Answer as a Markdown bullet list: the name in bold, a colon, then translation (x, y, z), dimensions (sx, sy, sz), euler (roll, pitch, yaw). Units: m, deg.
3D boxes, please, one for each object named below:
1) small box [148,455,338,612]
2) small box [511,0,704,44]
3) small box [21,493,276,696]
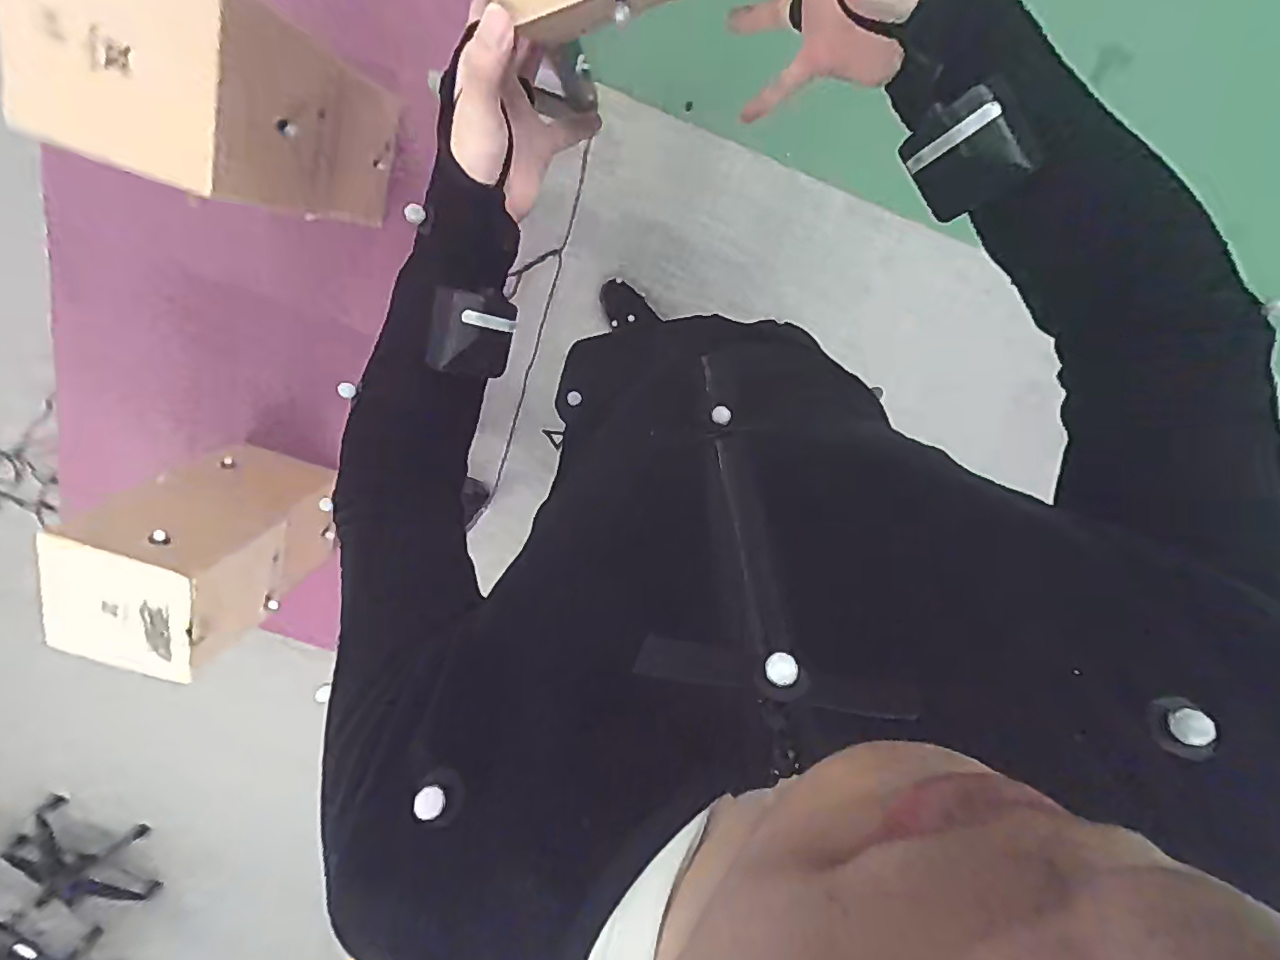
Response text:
- **small box**: translation (-0.611, 0.075, 0.843), dimensions (0.179, 0.176, 0.168), euler (18, 110, -5)
- **small box**: translation (-0.007, -0.366, 0.285), dimensions (0.168, 0.176, 0.179), euler (-13, 125, 8)
- **small box**: translation (-0.607, 0.135, 0.691), dimensions (0.179, 0.176, 0.168), euler (18, 110, -4)
